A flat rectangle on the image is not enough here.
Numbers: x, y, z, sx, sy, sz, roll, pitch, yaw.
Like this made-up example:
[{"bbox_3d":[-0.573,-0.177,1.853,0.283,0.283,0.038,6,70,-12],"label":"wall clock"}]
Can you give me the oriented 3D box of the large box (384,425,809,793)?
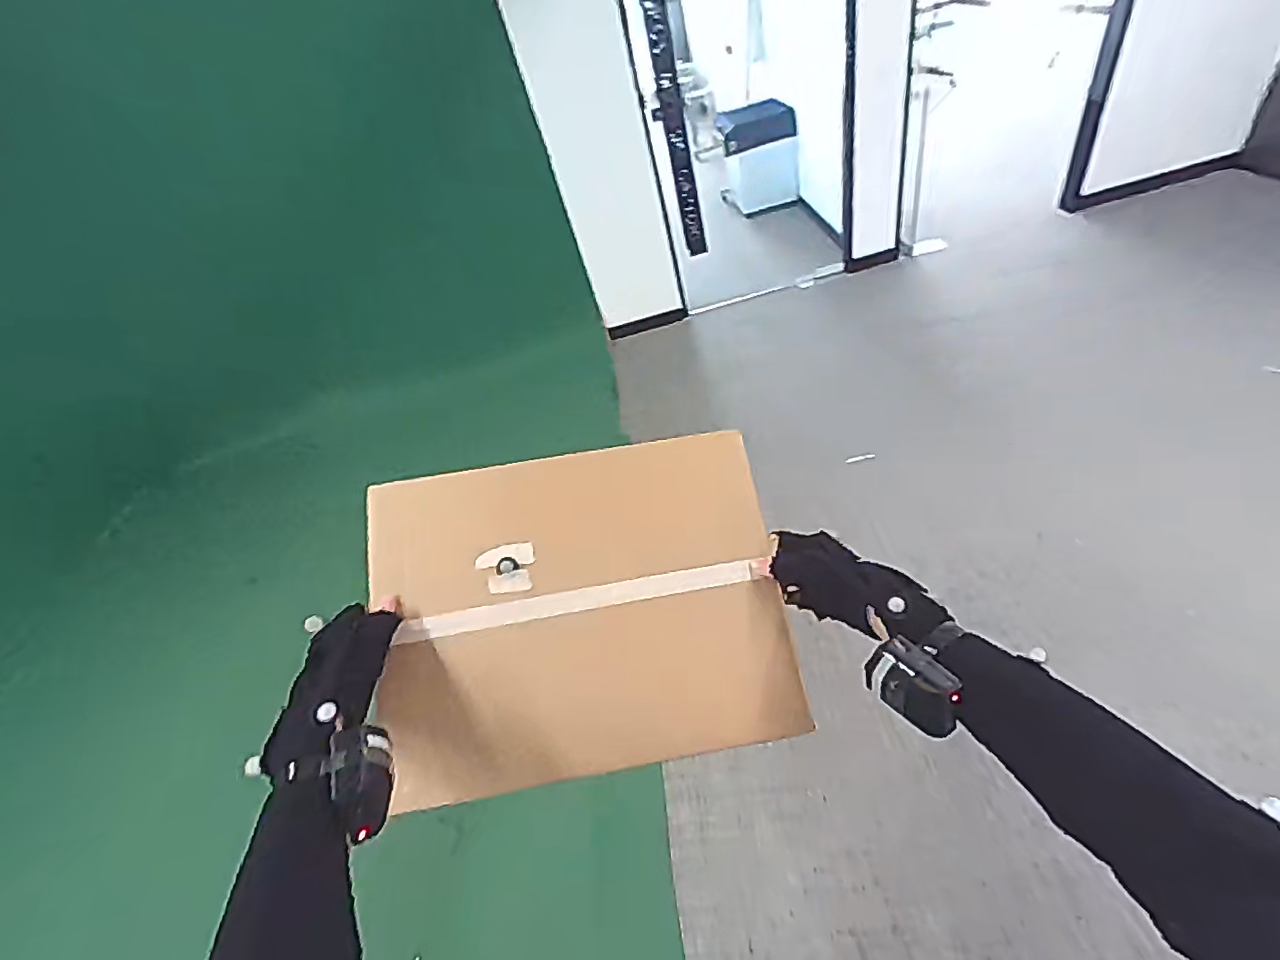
[{"bbox_3d":[-0.055,0.155,0.693,0.408,0.320,0.320,-9,73,-3],"label":"large box"}]
